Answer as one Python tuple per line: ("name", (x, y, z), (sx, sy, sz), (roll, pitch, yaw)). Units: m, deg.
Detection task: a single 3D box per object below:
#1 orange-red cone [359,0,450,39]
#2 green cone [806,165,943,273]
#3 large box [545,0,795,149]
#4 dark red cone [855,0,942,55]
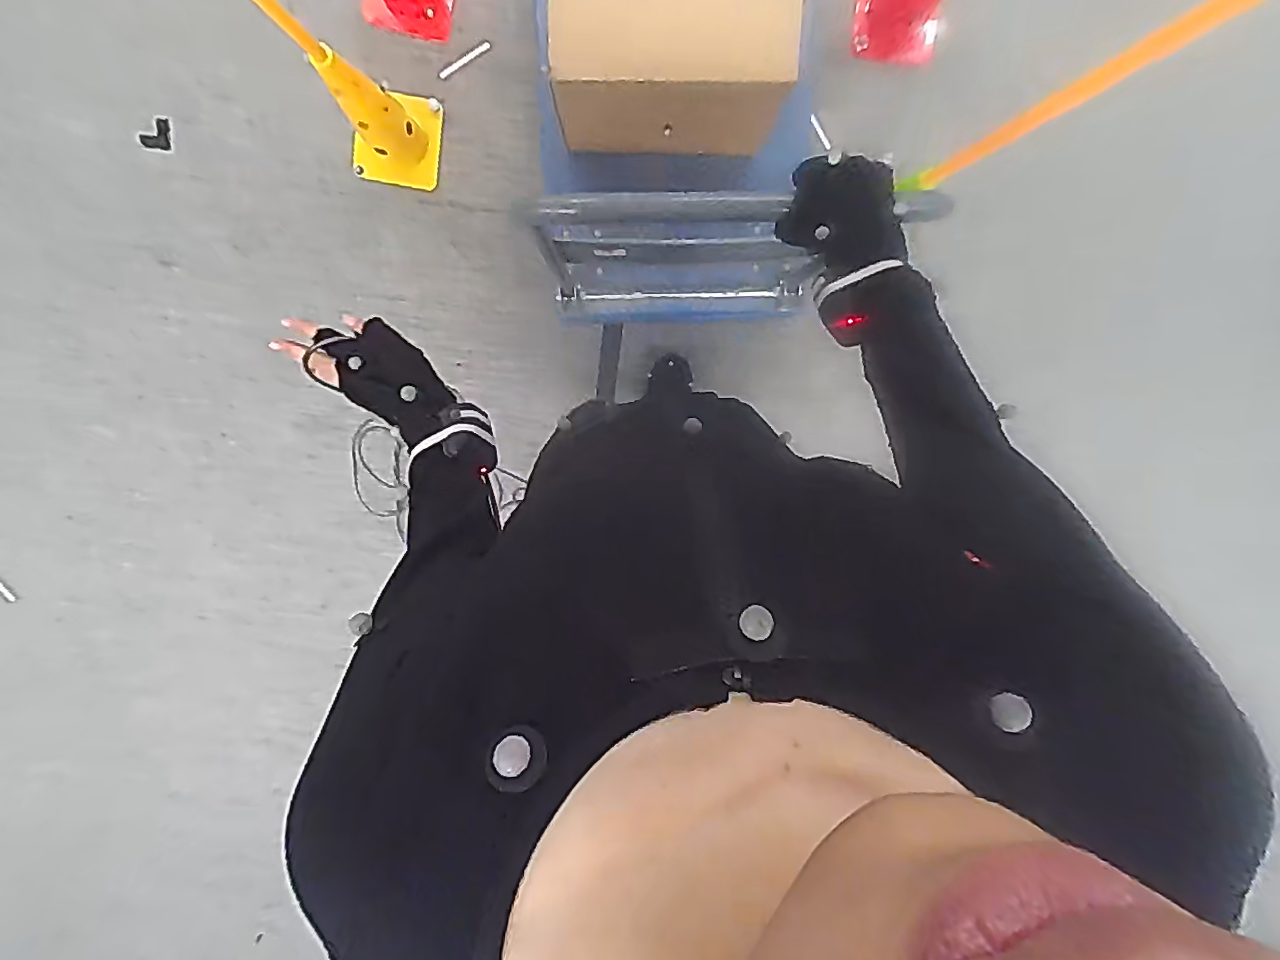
("orange-red cone", (-0.520, -1.106, 1.064), (0.198, 0.360, 0.199), (13, 99, -6))
("green cone", (0.540, -0.607, 1.199), (0.202, 0.368, 0.200), (9, 101, -5))
("large box", (0.047, -0.830, 0.991), (0.408, 0.320, 0.320), (0, 102, -1))
("dark red cone", (0.614, -1.075, 1.092), (0.201, 0.394, 0.202), (5, 101, -5))
